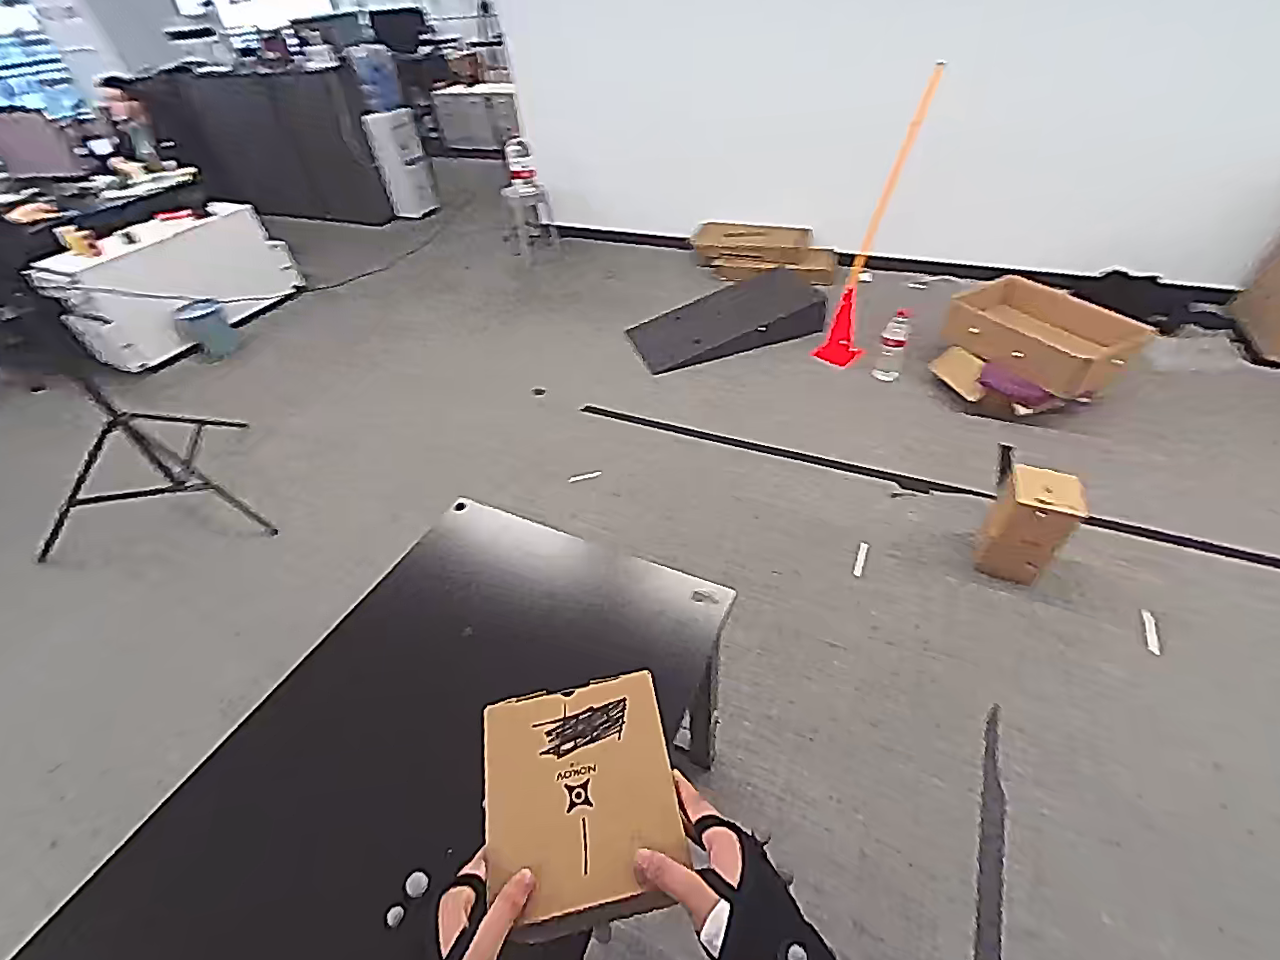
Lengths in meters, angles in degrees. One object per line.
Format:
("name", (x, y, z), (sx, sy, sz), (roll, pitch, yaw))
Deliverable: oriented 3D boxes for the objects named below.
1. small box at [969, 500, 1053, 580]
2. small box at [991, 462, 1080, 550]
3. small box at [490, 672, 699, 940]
("small box", (1.185, 0.195, 1.733), (0.179, 0.176, 0.168), (14, 46, 21))
("small box", (1.173, 0.077, 1.619), (0.168, 0.176, 0.179), (14, 45, 19))
("small box", (-0.044, 0.321, 0.533), (0.168, 0.176, 0.179), (-11, 48, -4))
